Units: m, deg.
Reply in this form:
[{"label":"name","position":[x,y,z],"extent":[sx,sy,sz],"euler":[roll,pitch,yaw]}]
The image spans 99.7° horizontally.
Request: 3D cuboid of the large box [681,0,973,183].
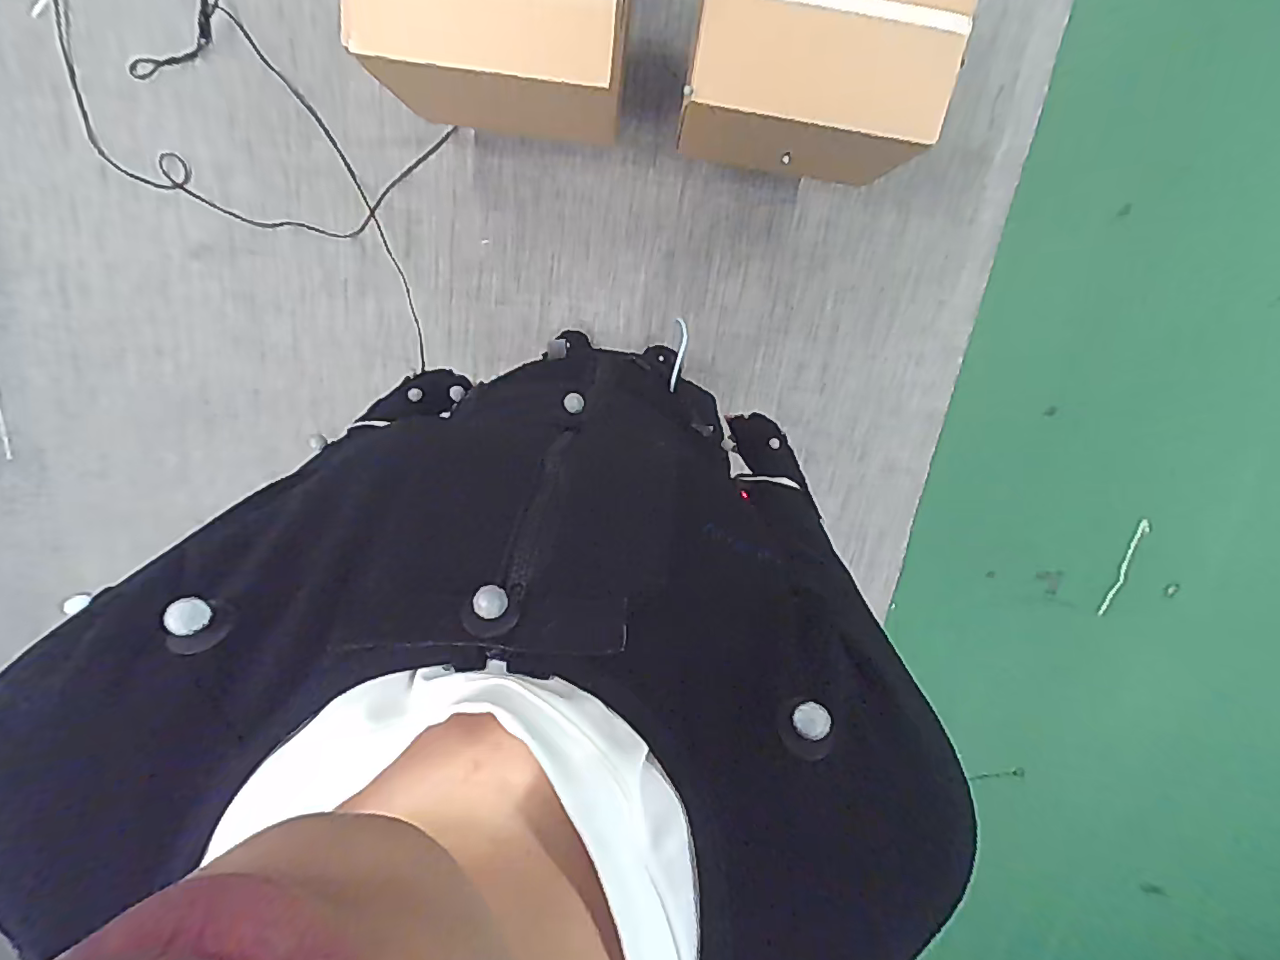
[{"label":"large box","position":[0.305,-0.757,0.966],"extent":[0.408,0.320,0.320],"euler":[9,107,-2]}]
